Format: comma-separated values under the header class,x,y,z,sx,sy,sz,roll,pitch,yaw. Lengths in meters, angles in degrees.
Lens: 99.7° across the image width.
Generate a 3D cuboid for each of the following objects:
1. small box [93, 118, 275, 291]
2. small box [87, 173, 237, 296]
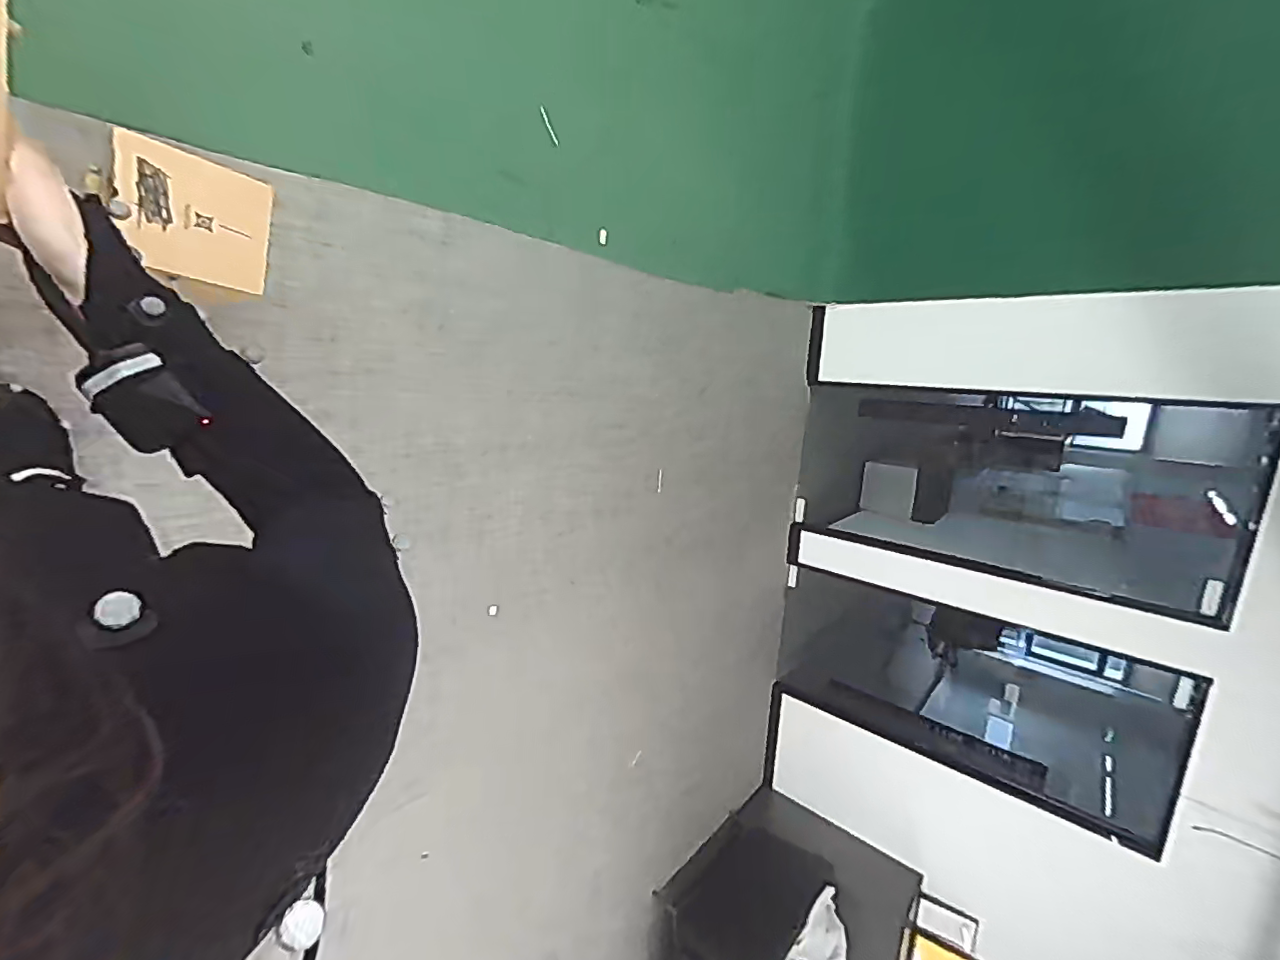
class,x,y,z,sx,sy,sz,roll,pitch,yaw
small box,-0.671,-0.383,0.795,0.179,0.176,0.168,3,98,-50
small box,-0.789,-0.414,0.904,0.179,0.176,0.168,7,96,-51
